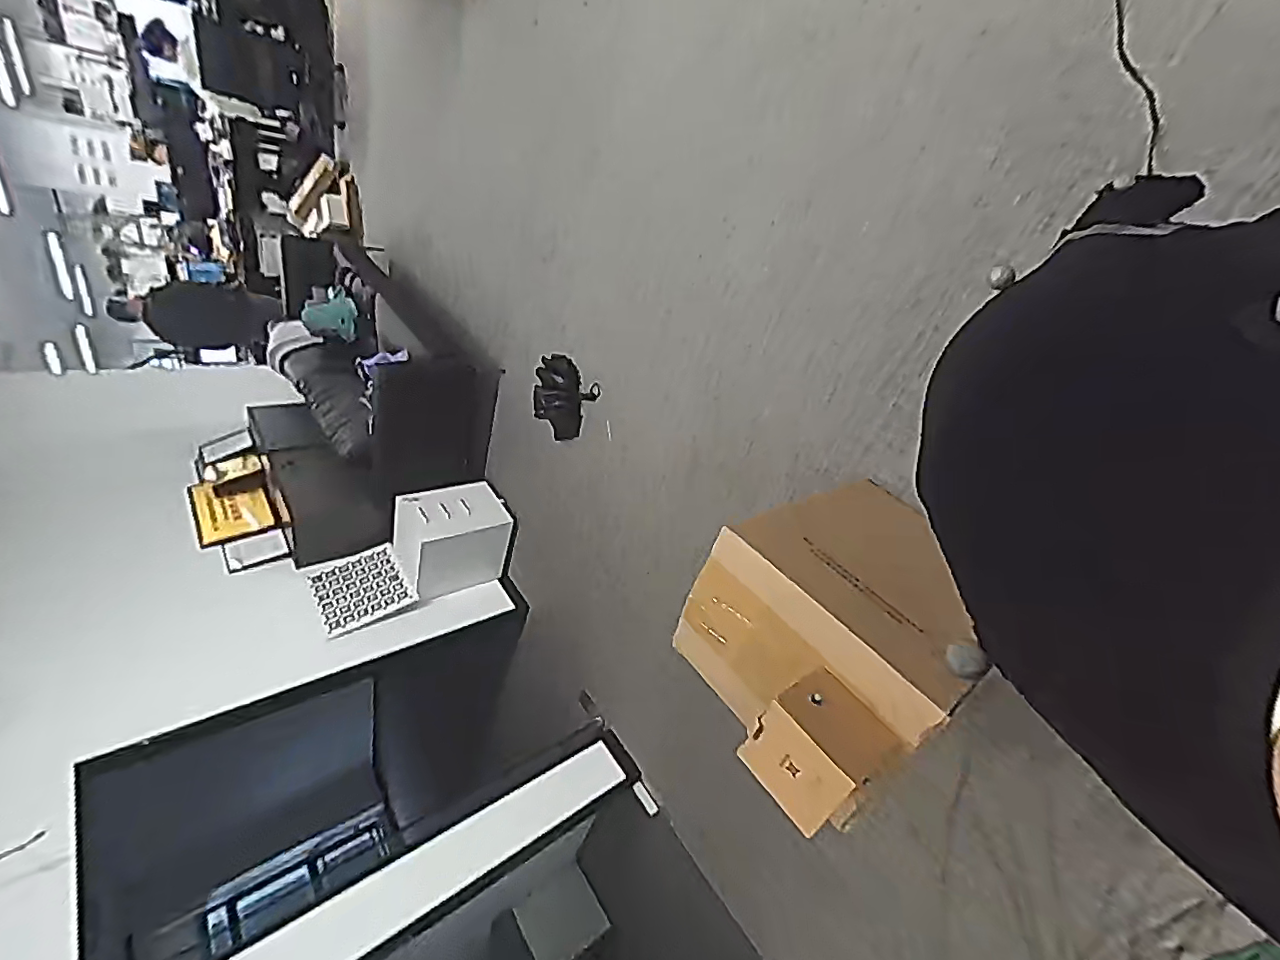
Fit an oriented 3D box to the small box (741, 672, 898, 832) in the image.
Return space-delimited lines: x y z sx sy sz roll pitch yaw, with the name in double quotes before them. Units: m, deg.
"small box" 0.322 0.474 0.975 0.179 0.176 0.168 42 125 35
